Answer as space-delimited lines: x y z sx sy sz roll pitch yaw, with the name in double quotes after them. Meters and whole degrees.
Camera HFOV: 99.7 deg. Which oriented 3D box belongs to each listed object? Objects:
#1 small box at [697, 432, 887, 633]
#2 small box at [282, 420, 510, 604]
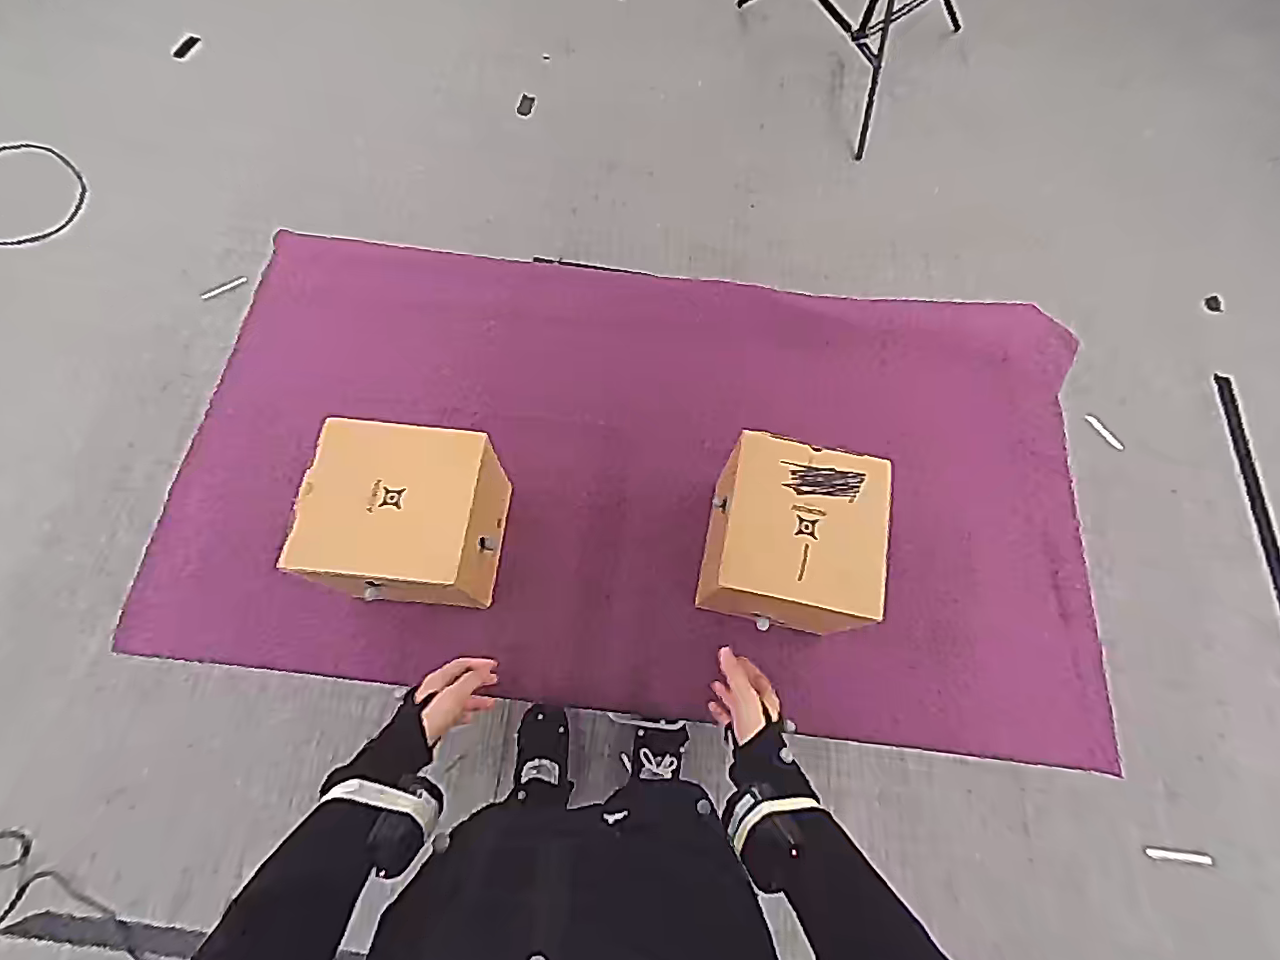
0.168 0.071 0.637 0.168 0.176 0.179 12 70 3 "small box"
-0.260 0.047 0.629 0.179 0.176 0.168 5 69 0 "small box"
